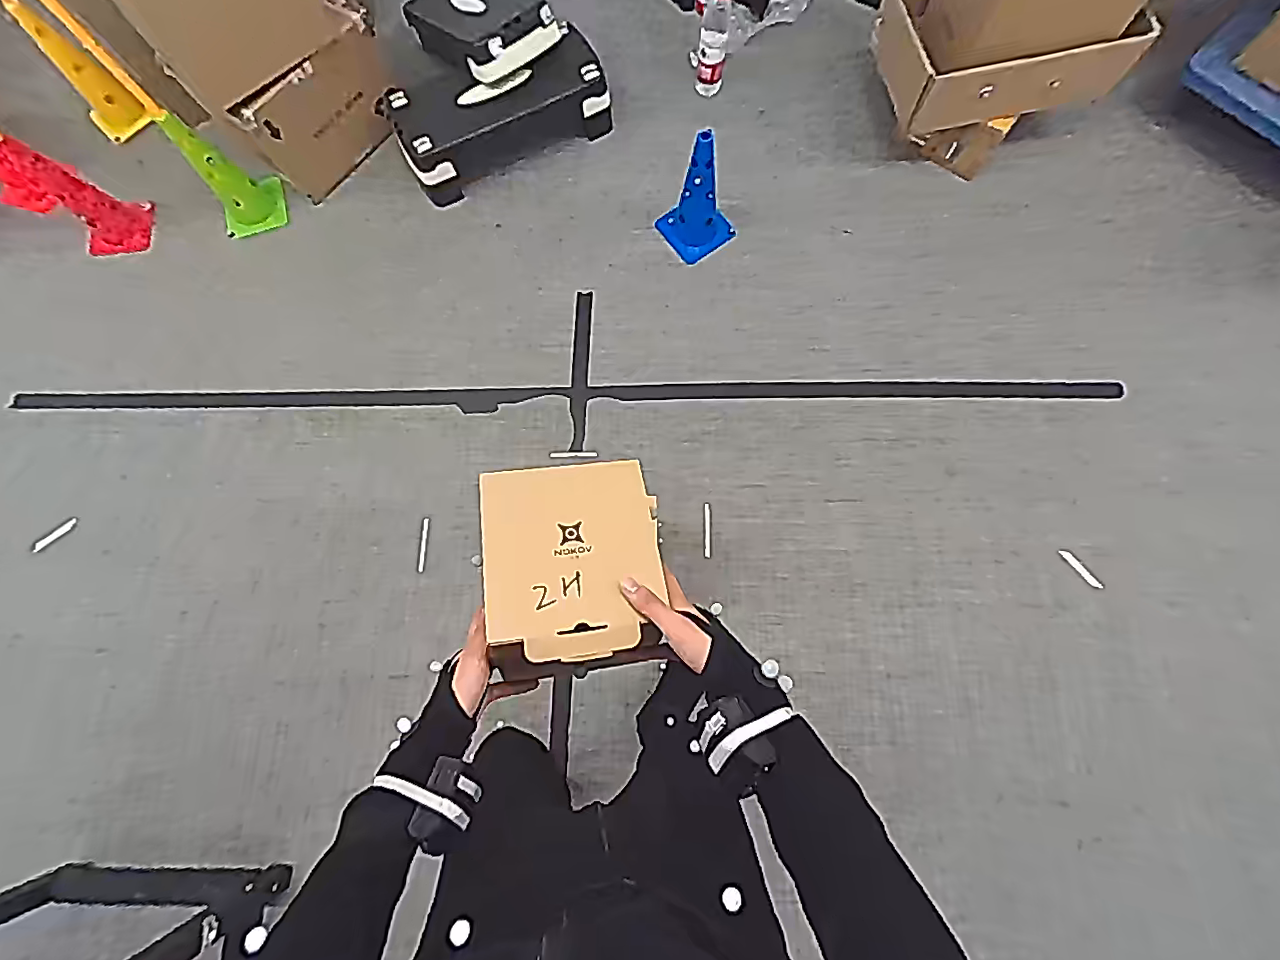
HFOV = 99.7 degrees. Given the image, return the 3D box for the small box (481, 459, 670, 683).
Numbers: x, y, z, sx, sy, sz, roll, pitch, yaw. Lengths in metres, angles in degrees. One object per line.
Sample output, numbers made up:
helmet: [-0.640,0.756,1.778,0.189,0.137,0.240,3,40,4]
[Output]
small box: [-0.075,0.099,0.578,0.168,0.176,0.179,-6,59,-11]
